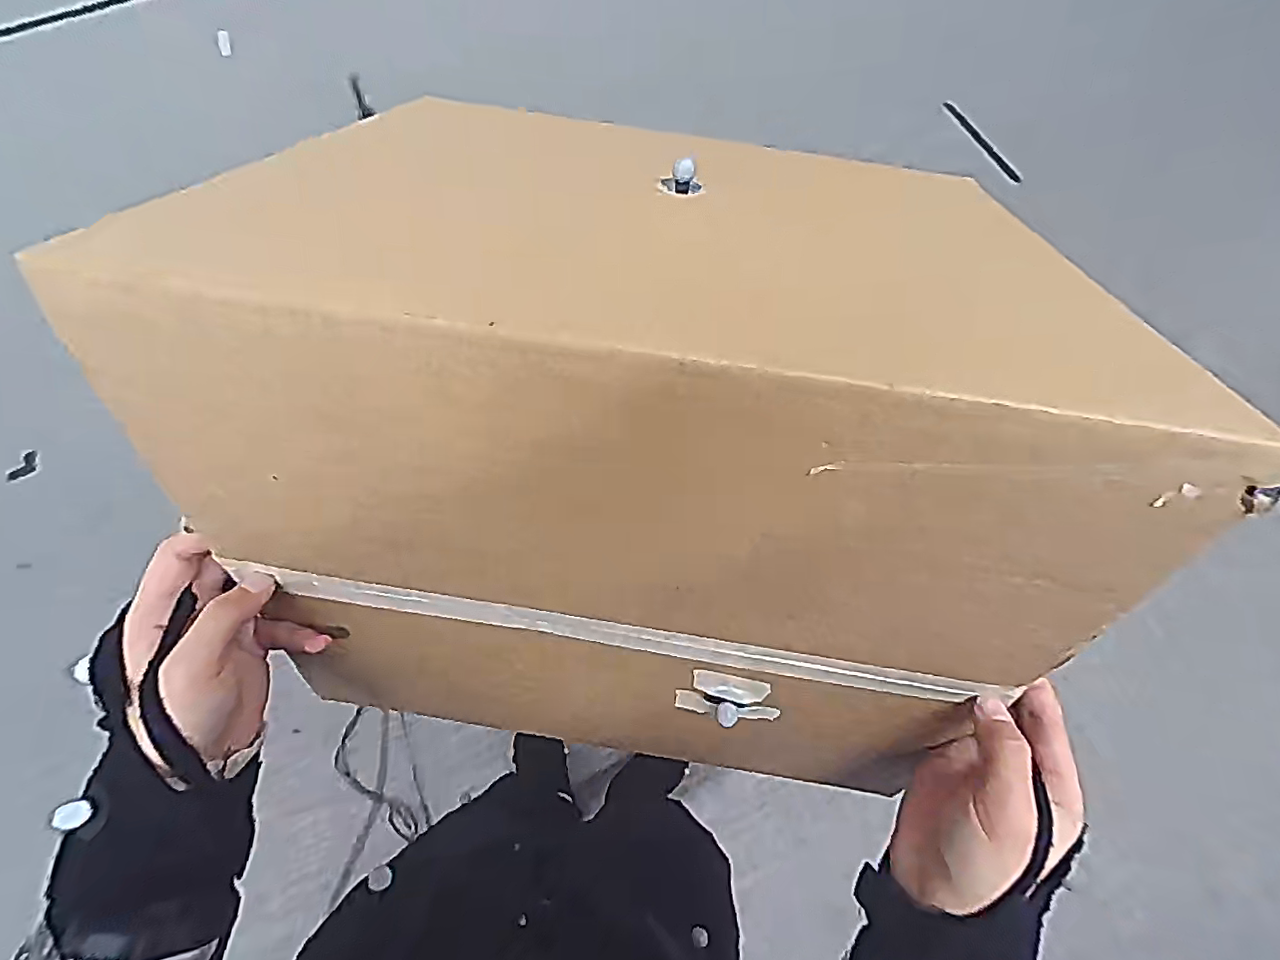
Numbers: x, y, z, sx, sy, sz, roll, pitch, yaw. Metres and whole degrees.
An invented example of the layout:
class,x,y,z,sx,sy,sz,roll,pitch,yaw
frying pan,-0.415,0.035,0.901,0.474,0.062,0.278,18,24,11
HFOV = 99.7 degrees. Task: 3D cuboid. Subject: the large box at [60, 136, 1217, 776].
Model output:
class,x,y,z,sx,sy,sz,roll,pitch,yaw
large box,-0.005,-0.028,0.390,0.408,0.320,0.320,7,44,1
